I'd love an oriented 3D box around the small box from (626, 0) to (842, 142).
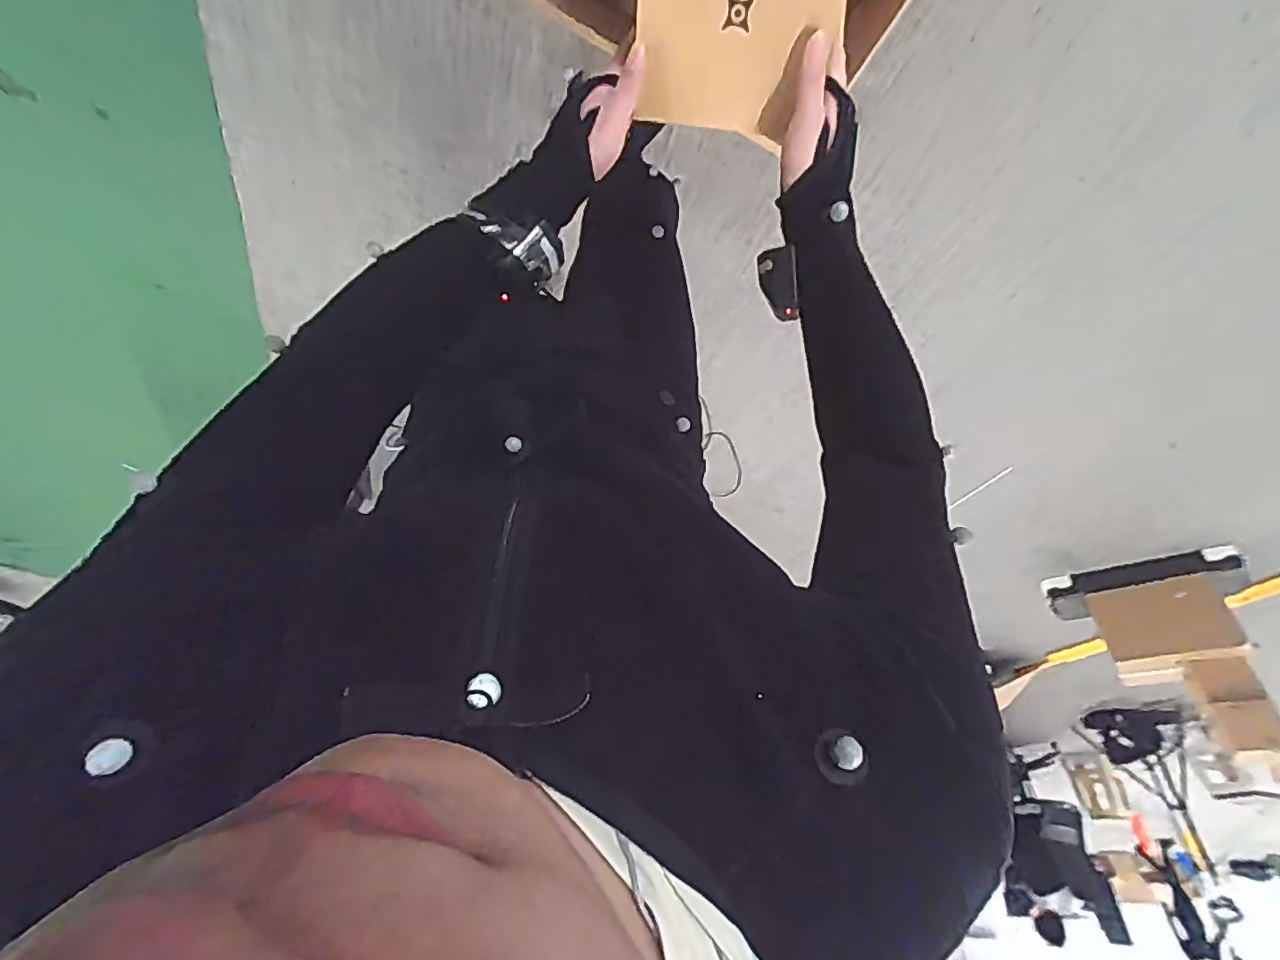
[{"bbox_3d":[0.083,-0.430,0.471,0.168,0.176,0.179,7,141,2],"label":"small box"}]
